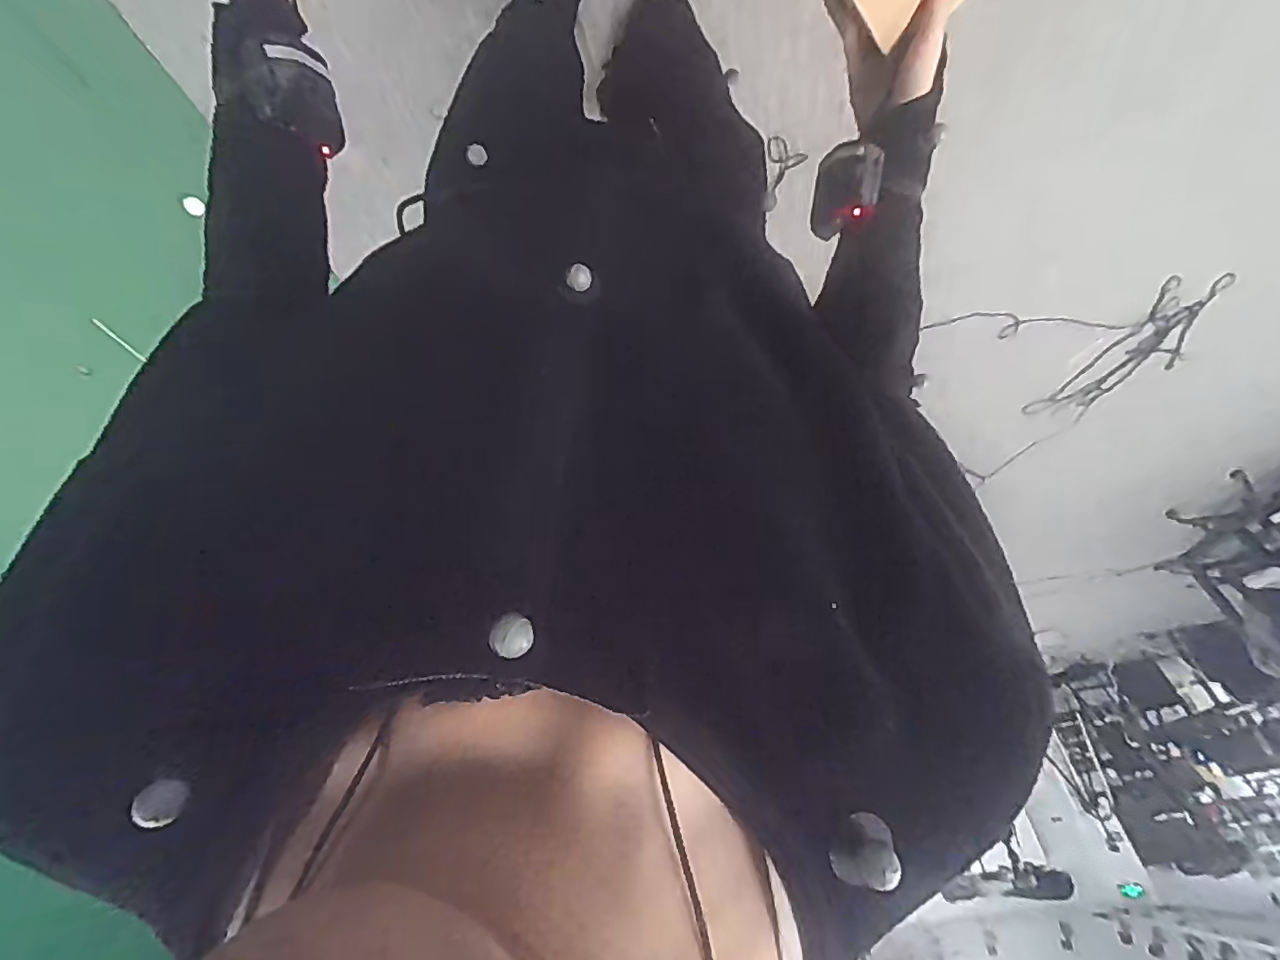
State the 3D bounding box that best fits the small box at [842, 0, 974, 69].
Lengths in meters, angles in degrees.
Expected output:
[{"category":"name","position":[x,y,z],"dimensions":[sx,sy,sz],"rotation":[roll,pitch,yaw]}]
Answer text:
[{"category":"small box","position":[0.187,-0.441,0.354],"dimensions":[0.179,0.176,0.168],"rotation":[-37,167,37]}]
